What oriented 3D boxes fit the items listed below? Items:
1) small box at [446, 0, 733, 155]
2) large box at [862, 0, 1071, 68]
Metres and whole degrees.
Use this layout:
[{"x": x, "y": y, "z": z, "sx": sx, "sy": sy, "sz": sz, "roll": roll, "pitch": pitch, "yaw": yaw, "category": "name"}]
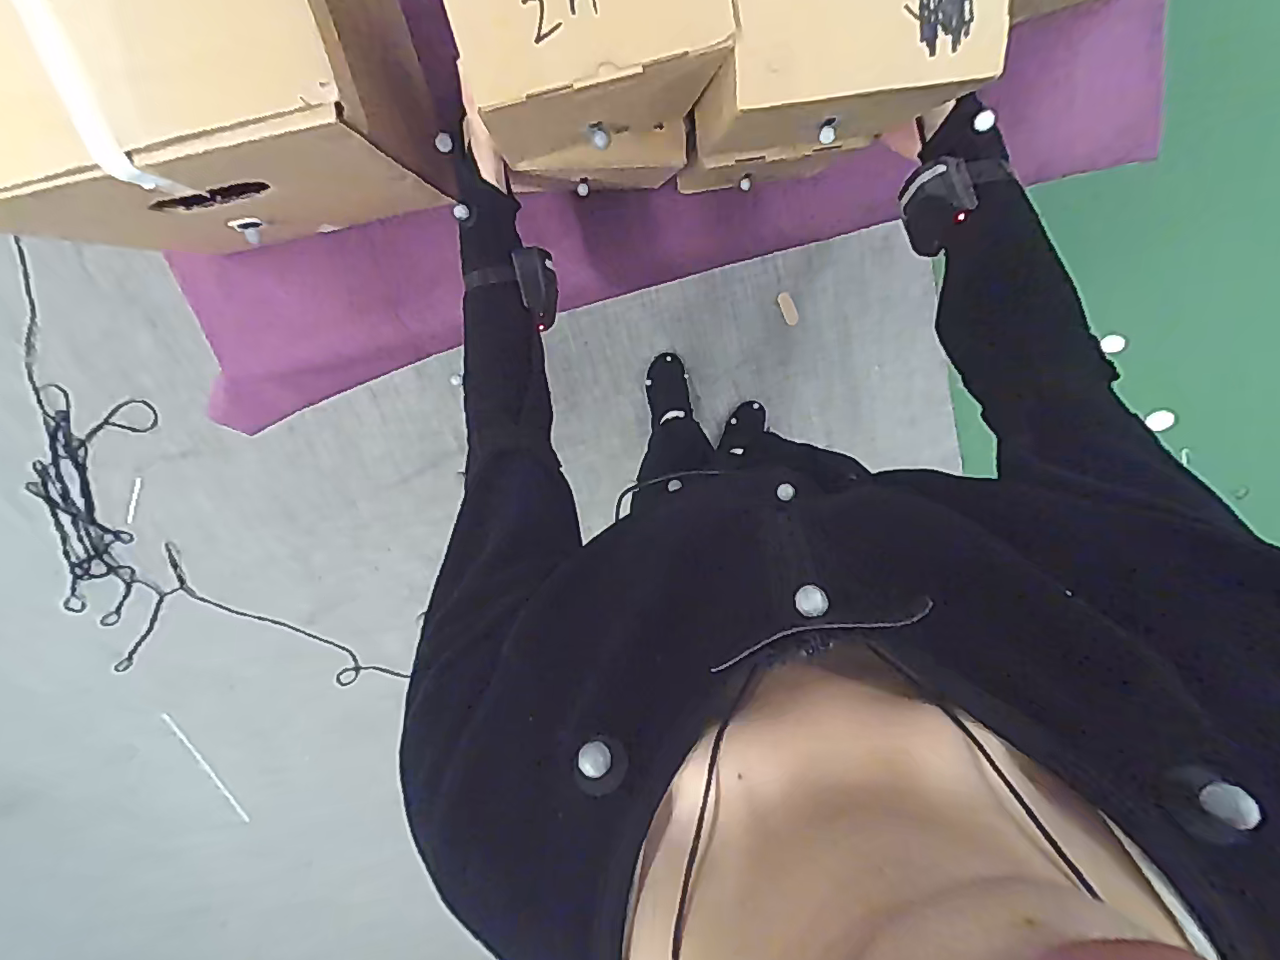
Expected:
[{"x": -0.050, "y": -0.354, "z": 0.370, "sx": 0.168, "sy": 0.176, "sz": 0.179, "roll": -15, "pitch": 111, "yaw": -1, "category": "small box"}, {"x": 0.358, "y": -0.657, "z": 0.425, "sx": 0.320, "sy": 0.320, "sz": 0.408, "roll": -17, "pitch": 108, "yaw": 4, "category": "large box"}]
